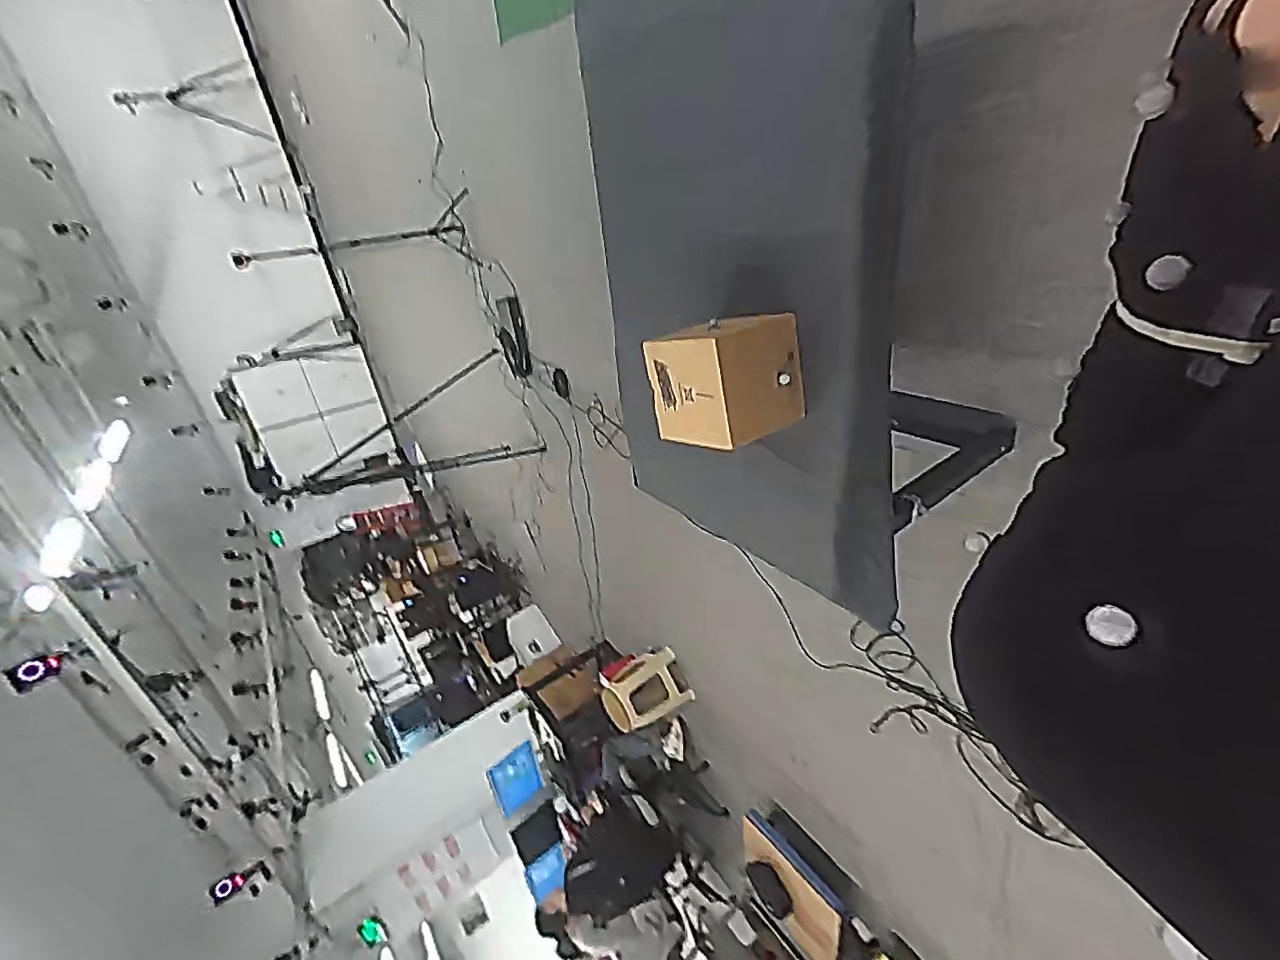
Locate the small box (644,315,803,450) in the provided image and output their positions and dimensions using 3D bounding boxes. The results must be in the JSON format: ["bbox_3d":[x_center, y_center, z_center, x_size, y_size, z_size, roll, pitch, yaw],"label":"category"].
[{"bbox_3d":[0.135,-0.161,0.870,0.179,0.176,0.168,16,125,54],"label":"small box"}]
